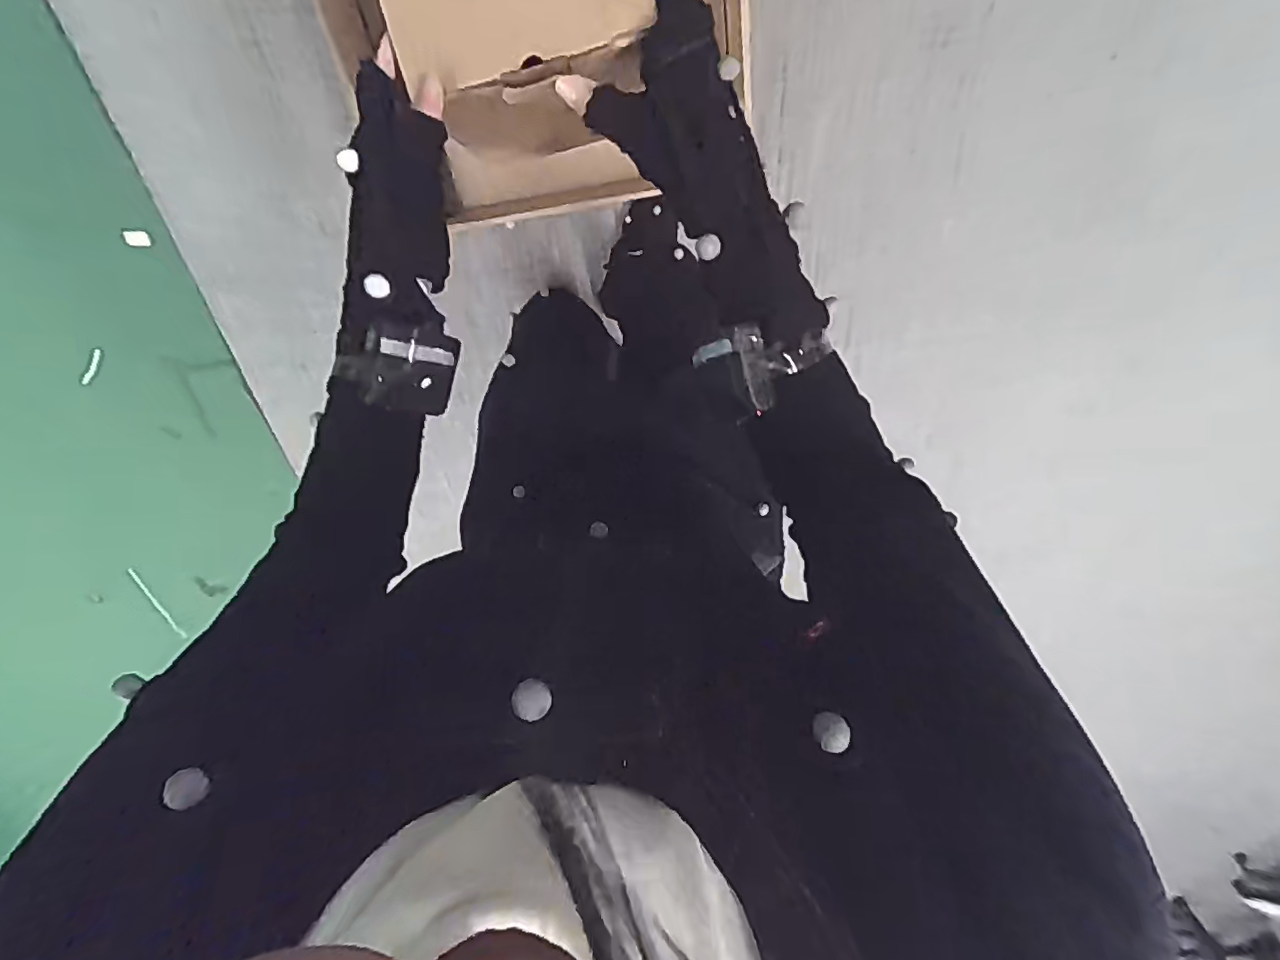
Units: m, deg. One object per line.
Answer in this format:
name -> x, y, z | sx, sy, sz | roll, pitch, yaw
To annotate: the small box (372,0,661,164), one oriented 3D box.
small box -> -0.082, -0.351, 0.388 | 0.168, 0.176, 0.179 | -12, 105, 8
